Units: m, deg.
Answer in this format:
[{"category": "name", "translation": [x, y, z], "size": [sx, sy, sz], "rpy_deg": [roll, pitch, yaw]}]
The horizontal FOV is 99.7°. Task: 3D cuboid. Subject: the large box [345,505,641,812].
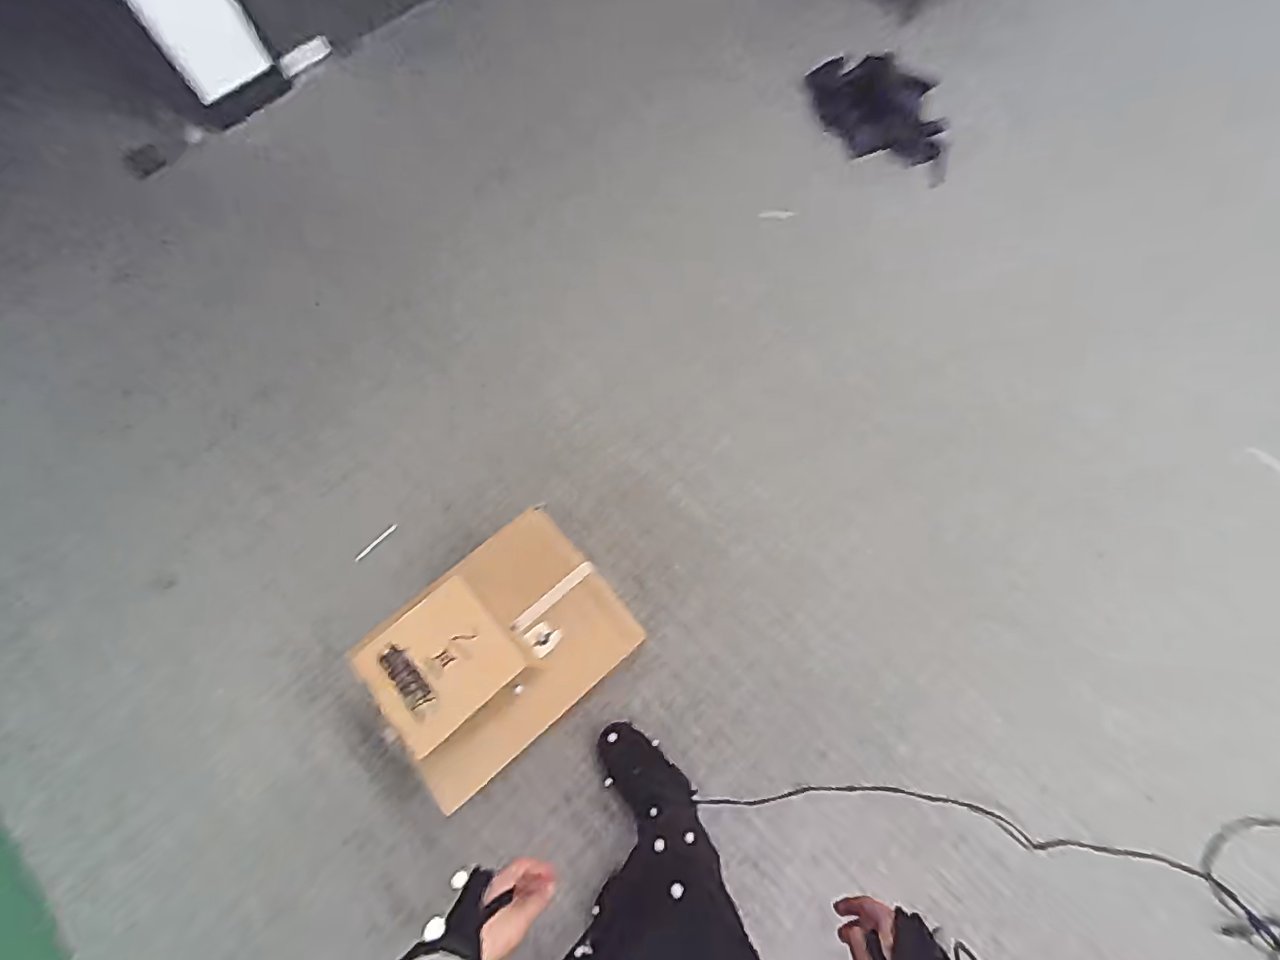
[{"category": "large box", "translation": [-0.243, 0.327, 1.033], "size": [0.408, 0.320, 0.320], "rpy_deg": [-40, 75, -15]}]
